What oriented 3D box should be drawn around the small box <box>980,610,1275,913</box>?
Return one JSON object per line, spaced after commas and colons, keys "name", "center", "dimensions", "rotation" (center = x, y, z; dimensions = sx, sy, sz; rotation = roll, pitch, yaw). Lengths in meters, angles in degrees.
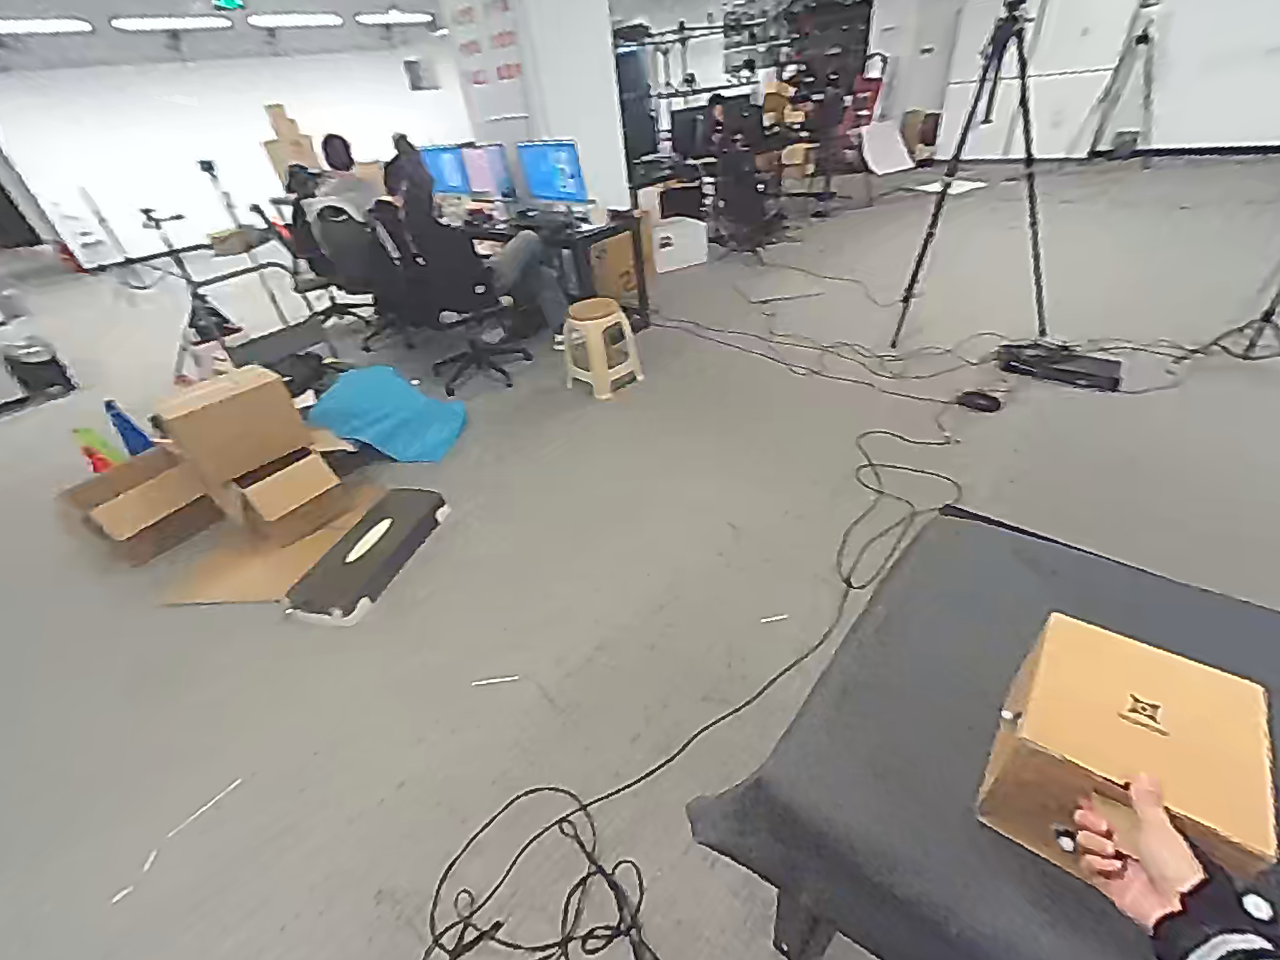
{"name": "small box", "center": [0.468, 0.273, 0.543], "dimensions": [0.168, 0.176, 0.179], "rotation": [21, 46, 33]}
